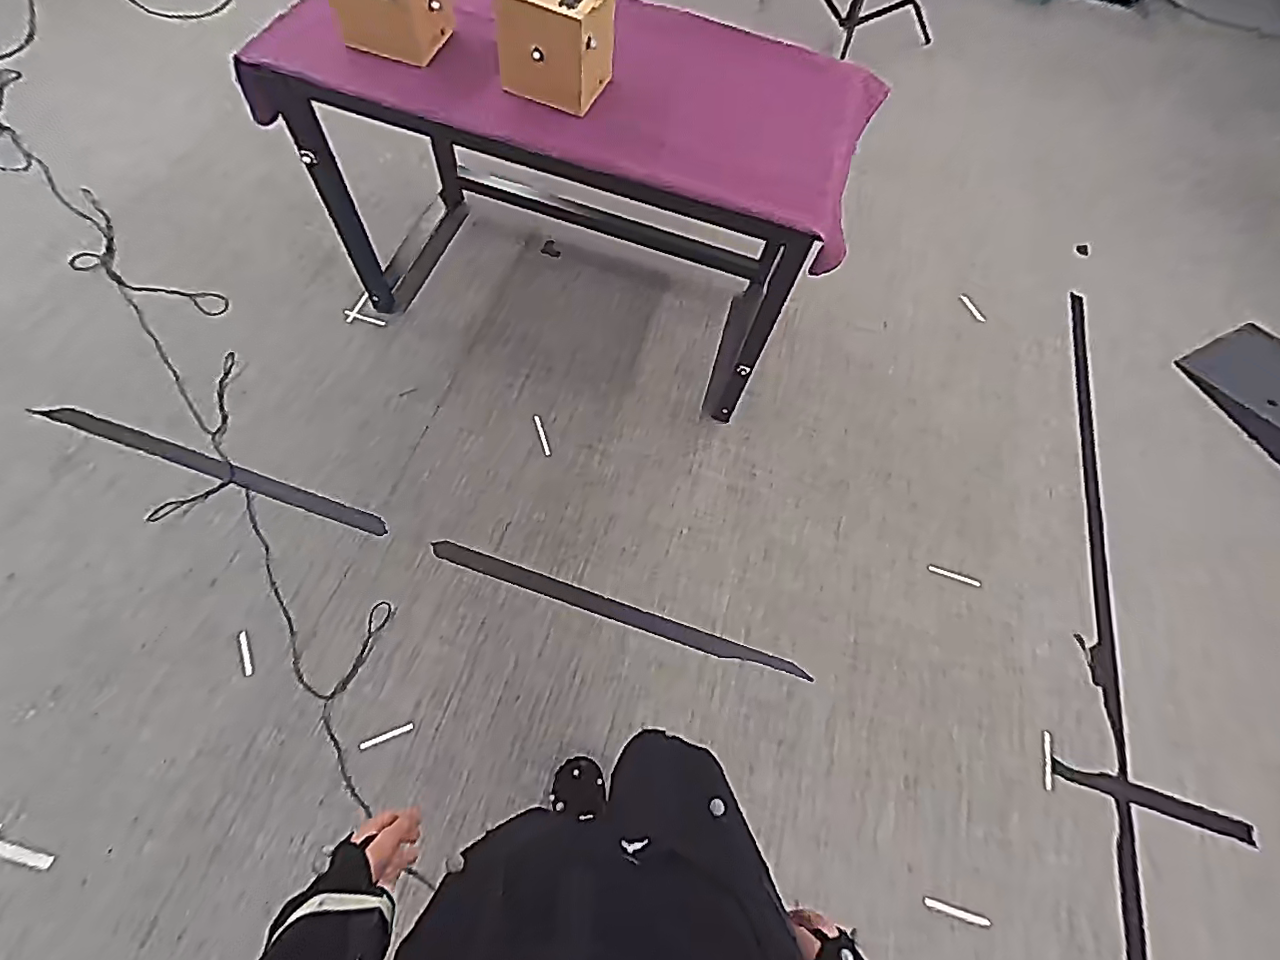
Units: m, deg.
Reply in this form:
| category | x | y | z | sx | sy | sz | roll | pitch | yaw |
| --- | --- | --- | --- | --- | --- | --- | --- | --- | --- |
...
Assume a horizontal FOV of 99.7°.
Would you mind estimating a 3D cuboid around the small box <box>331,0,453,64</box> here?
| category | x | y | z | sx | sy | sz | roll | pitch | yaw |
| --- | --- | --- | --- | --- | --- | --- | --- | --- | --- |
| small box | -0.490 | -0.965 | 1.065 | 0.179 | 0.176 | 0.168 | 16 | 63 | 1 |
